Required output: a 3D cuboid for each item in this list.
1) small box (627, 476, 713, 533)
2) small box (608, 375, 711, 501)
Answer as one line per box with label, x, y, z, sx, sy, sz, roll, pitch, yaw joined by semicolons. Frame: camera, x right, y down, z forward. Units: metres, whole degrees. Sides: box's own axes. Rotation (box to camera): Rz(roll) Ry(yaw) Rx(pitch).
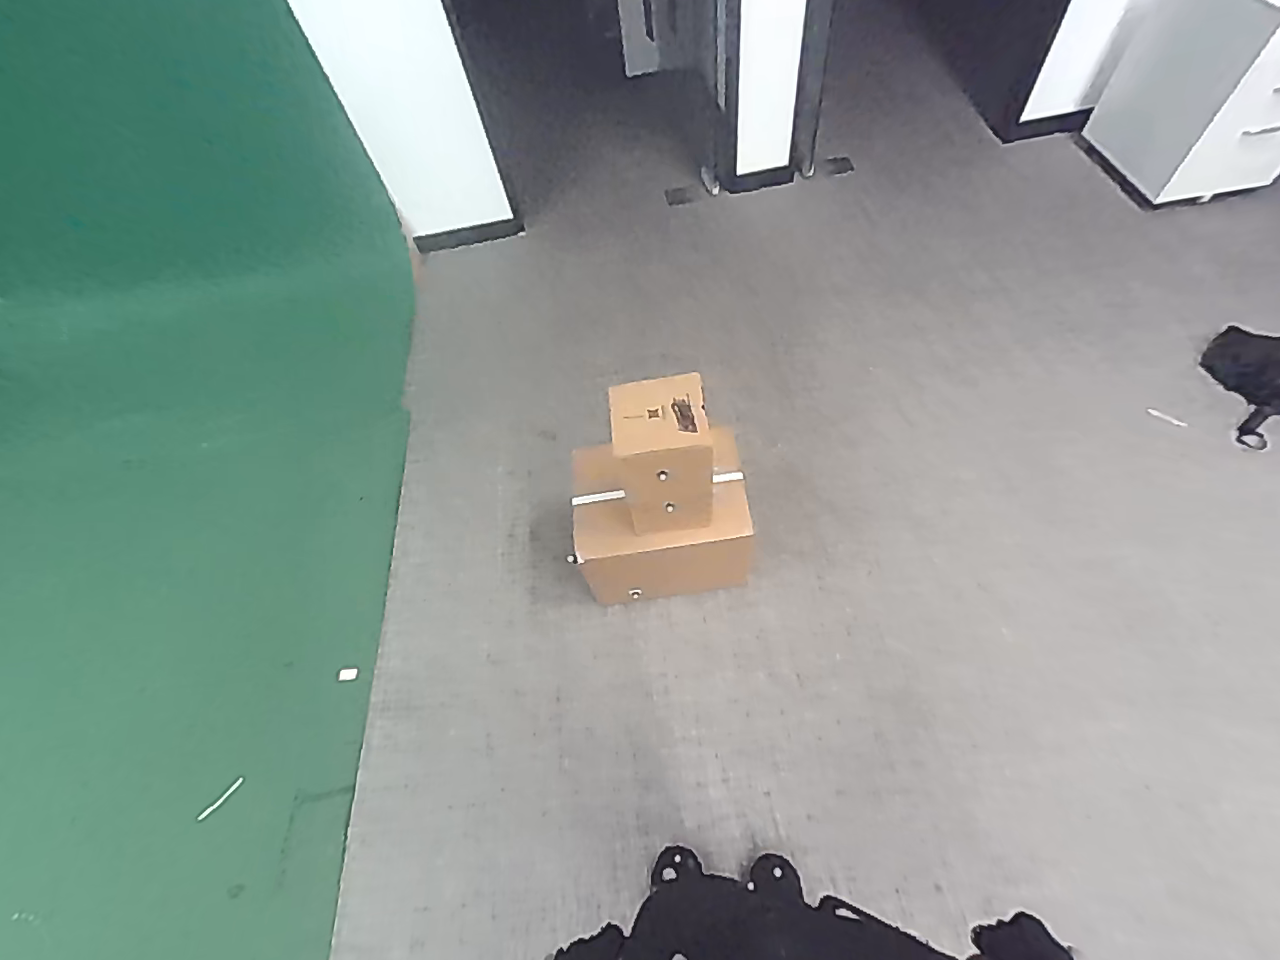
small box;0.062;0.004;1.187;0.179;0.176;0.168;-9;59;2
small box;0.041;-0.075;1.045;0.179;0.176;0.168;-9;59;5
